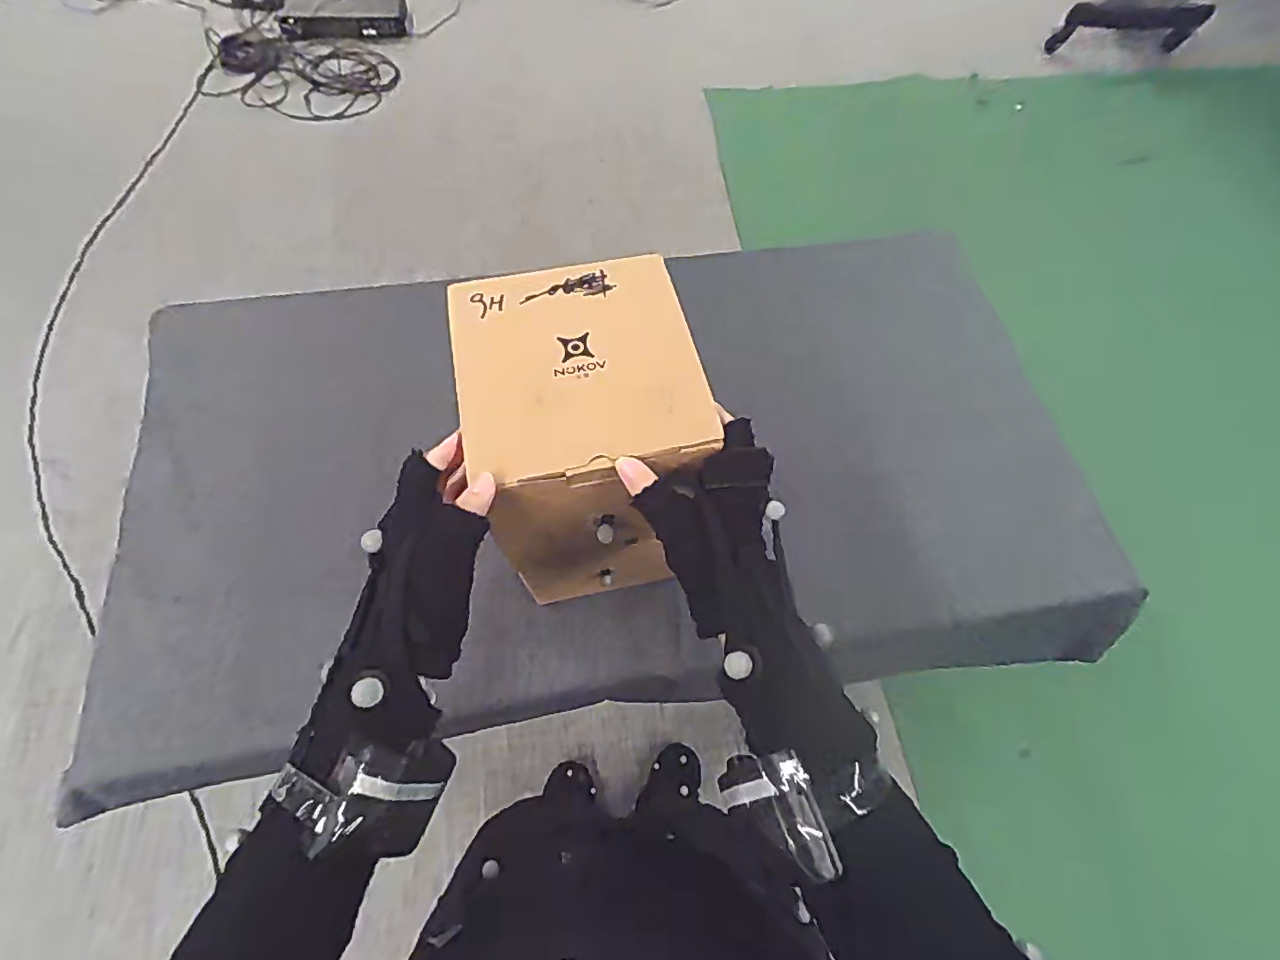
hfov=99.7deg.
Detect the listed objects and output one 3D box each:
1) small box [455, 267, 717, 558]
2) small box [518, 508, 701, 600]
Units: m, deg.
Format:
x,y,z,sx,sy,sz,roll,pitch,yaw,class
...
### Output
x,y,z,sx,sy,sz,roll,pitch,yaw,class
-0.045,-0.044,0.458,0.168,0.176,0.179,-11,65,-7,small box
-0.046,0.025,0.609,0.179,0.176,0.168,-11,67,-7,small box
